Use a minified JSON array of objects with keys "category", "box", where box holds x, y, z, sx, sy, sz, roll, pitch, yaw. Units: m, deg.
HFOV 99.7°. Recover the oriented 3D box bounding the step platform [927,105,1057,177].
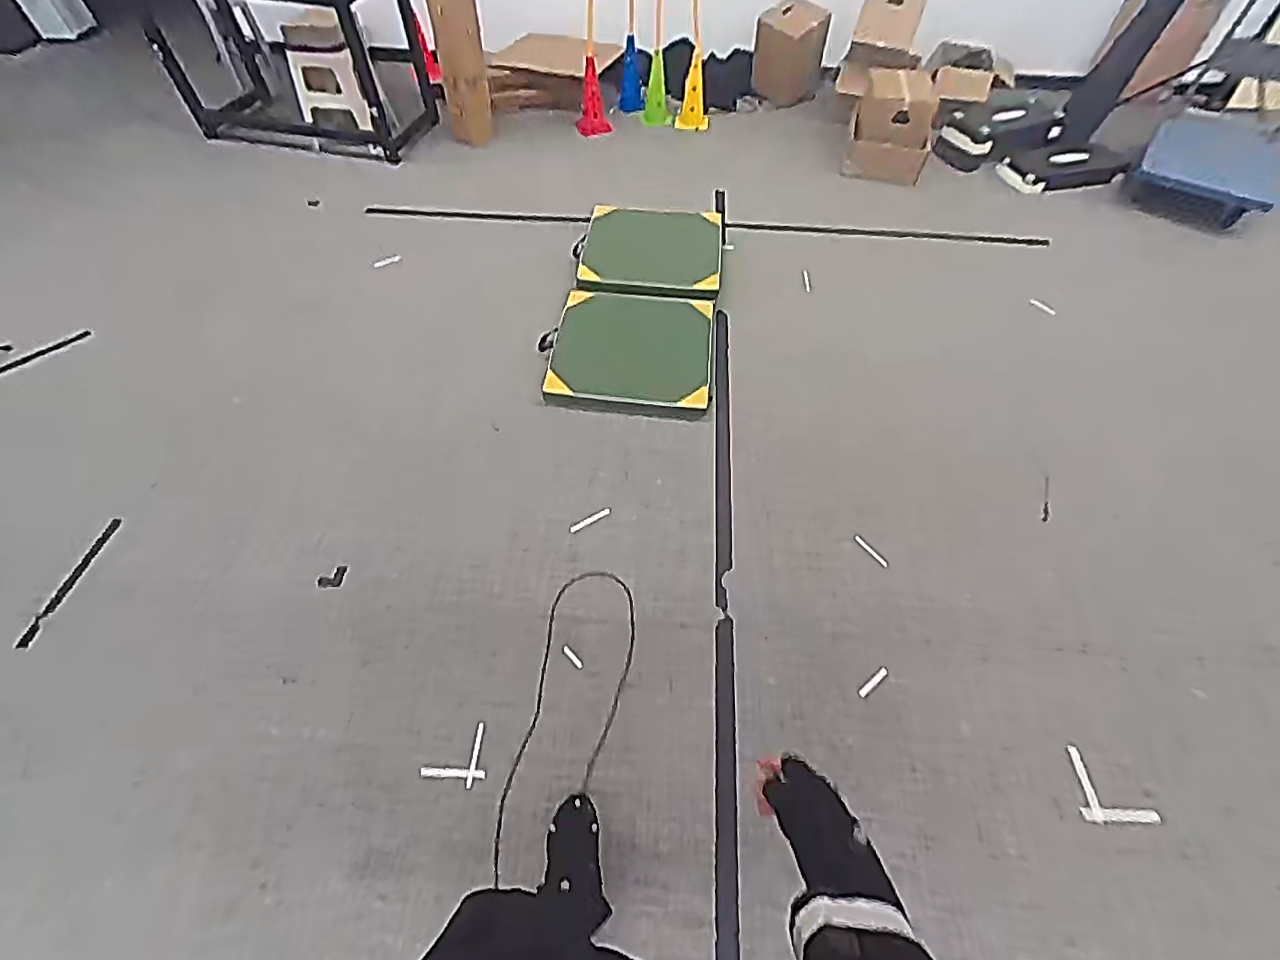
[{"category":"step platform","box":[2.023,-1.954,3.108,0.684,0.204,0.286,-20,58,-14]}]
